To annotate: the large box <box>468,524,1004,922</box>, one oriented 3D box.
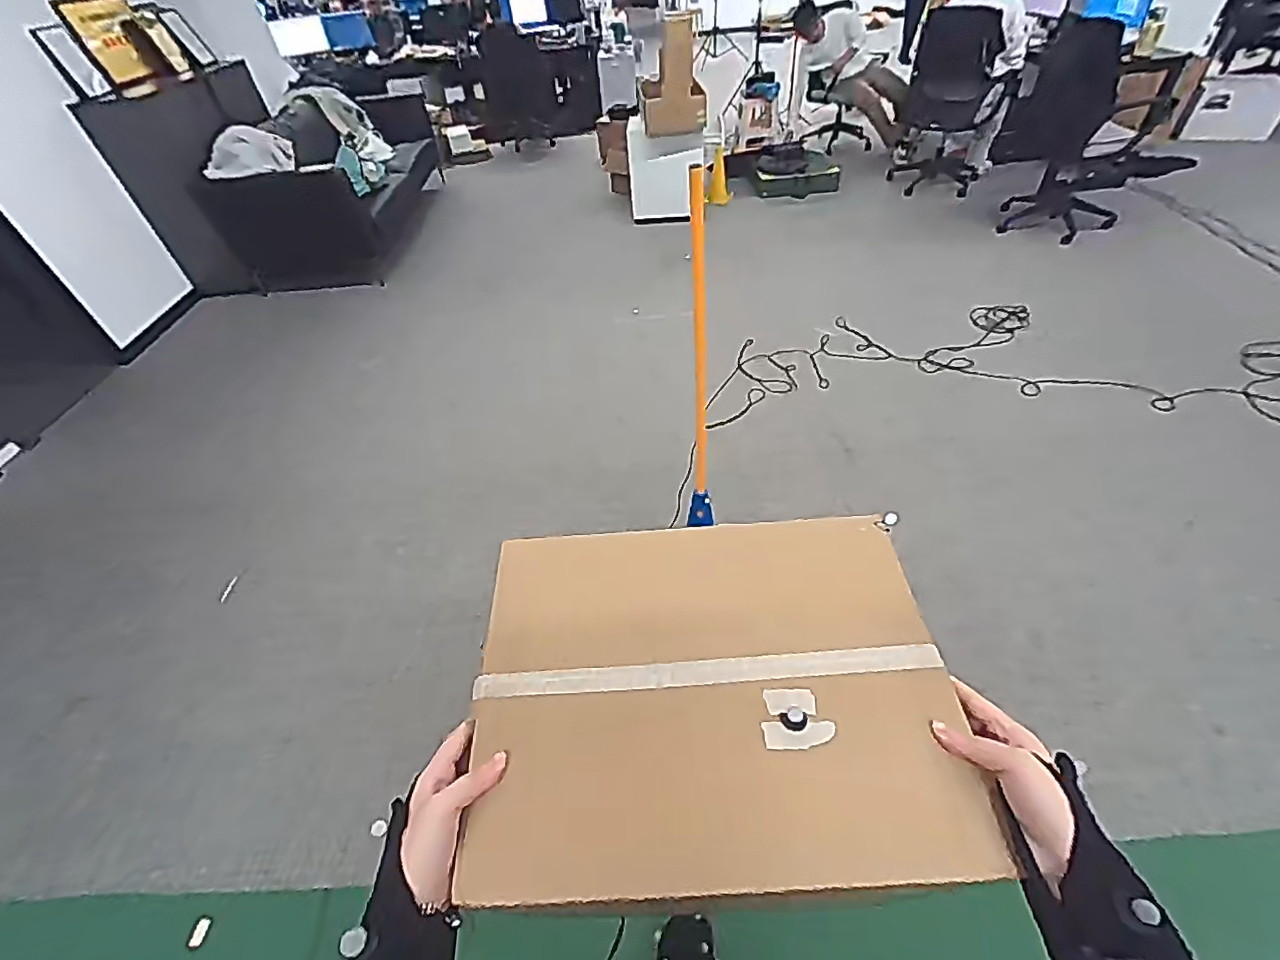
[{"bbox_3d":[0.068,0.273,0.600,0.408,0.320,0.320,-3,50,1],"label":"large box"}]
